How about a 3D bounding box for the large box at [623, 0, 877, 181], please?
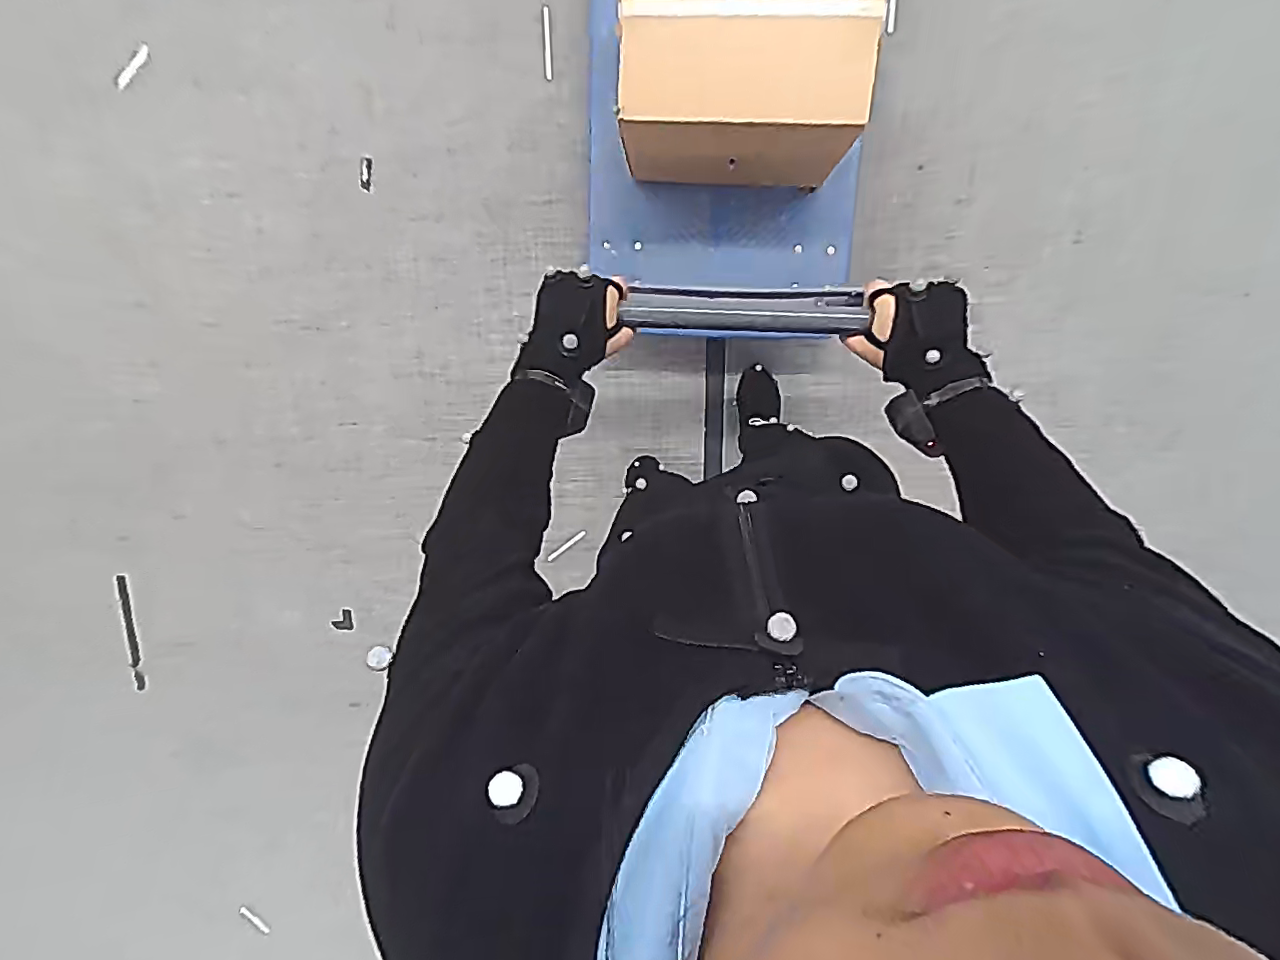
[{"bbox_3d":[0.188,-0.772,1.007,0.408,0.320,0.320,3,101,5],"label":"large box"}]
